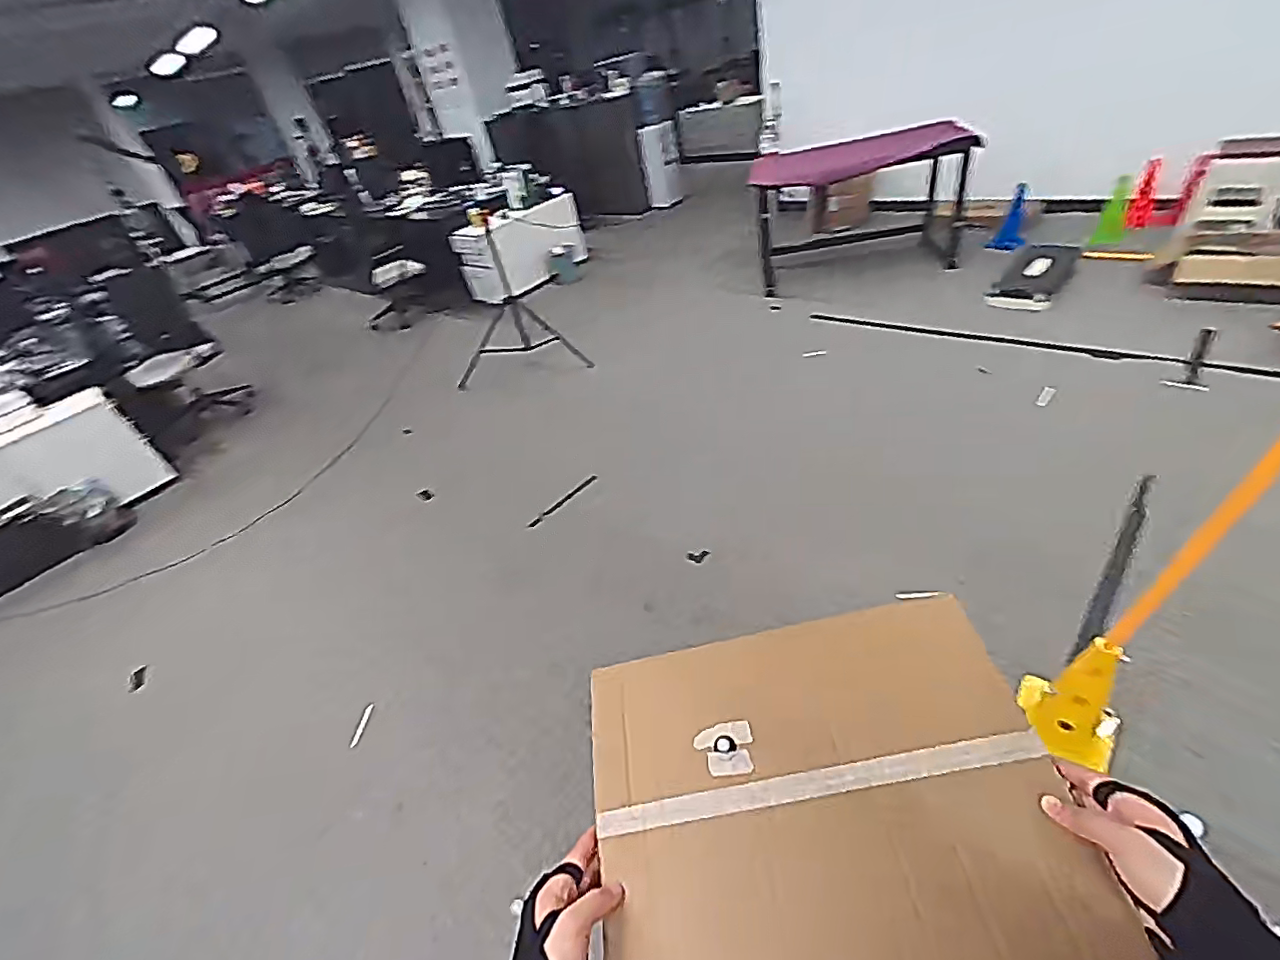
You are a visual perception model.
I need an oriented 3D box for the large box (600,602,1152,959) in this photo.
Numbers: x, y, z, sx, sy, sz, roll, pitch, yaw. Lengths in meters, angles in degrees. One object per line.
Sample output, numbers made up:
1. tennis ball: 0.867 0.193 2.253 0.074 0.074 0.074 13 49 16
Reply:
1. large box: 0.200 0.387 0.609 0.408 0.320 0.320 -15 45 7
